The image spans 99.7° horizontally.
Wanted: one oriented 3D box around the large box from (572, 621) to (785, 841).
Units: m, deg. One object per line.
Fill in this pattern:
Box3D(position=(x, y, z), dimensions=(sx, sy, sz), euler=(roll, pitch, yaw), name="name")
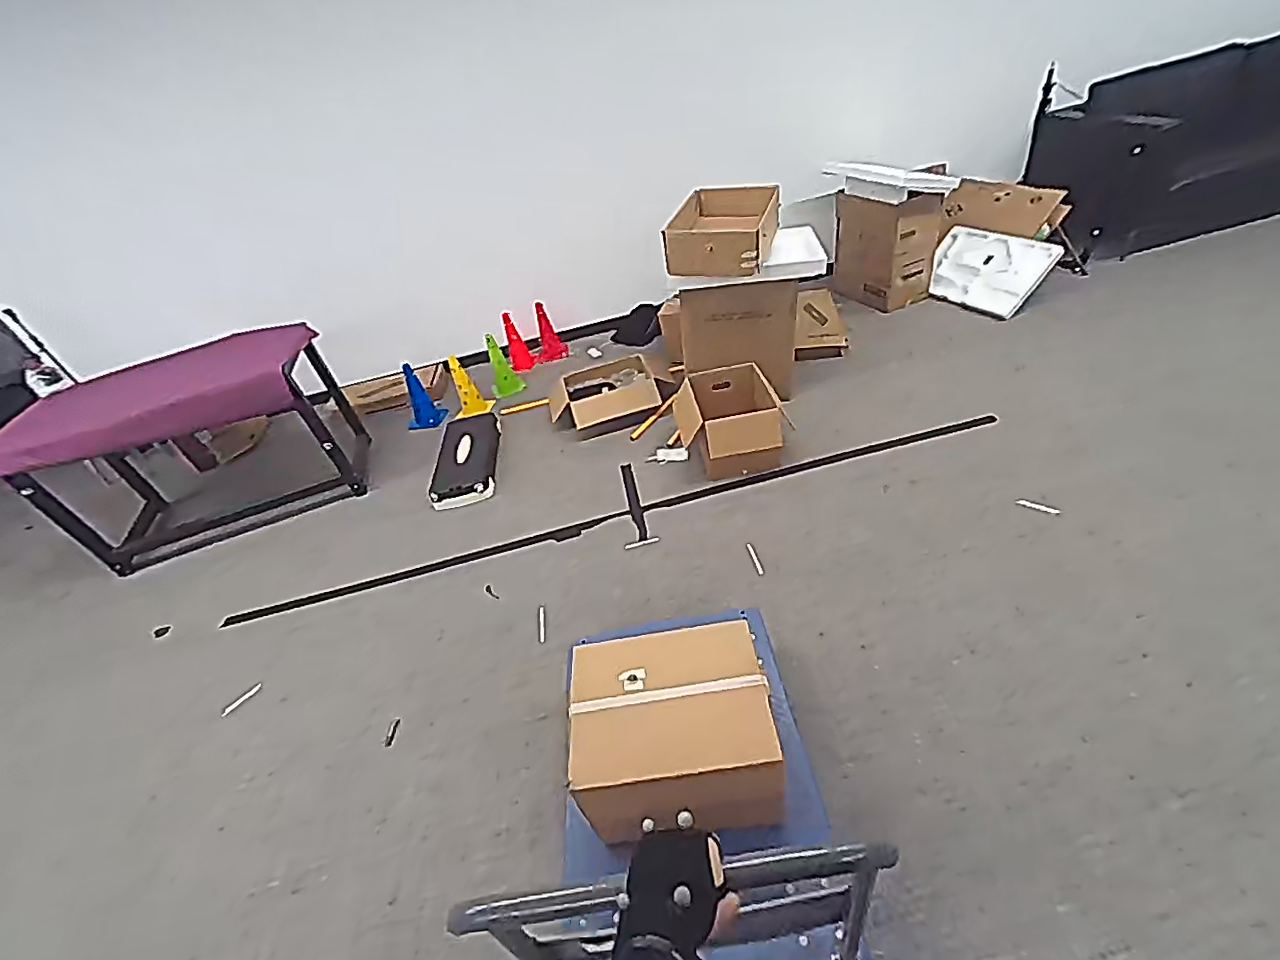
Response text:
Box3D(position=(0.084, 0.566, 1.218), dimensions=(0.408, 0.320, 0.320), euler=(-11, 38, 4), name="large box")
